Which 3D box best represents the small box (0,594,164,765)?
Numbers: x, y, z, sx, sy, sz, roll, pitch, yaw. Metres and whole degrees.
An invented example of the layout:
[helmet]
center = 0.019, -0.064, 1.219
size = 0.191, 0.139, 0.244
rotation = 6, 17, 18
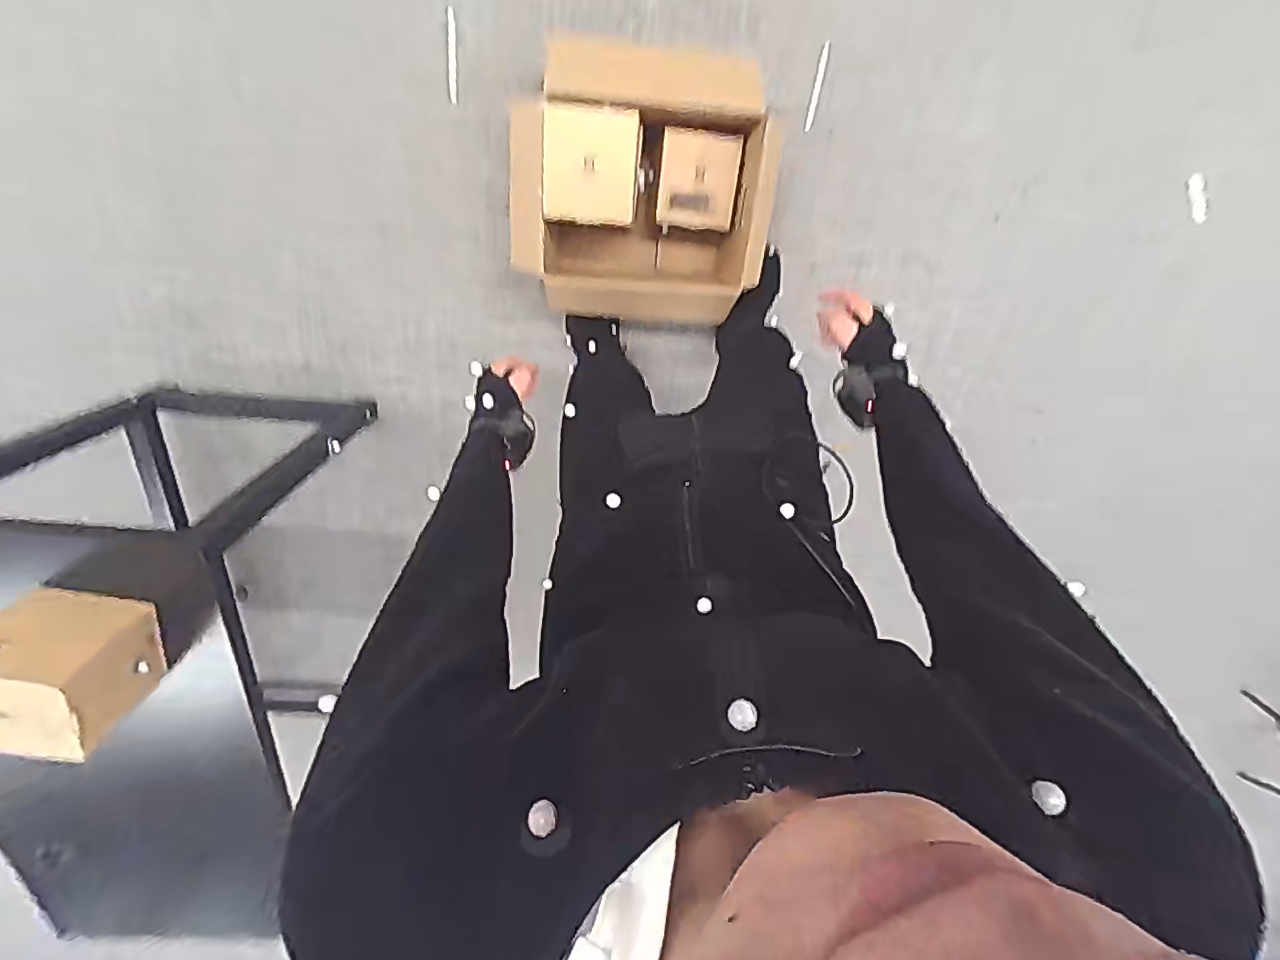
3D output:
[small box]
center = -0.891, 0.297, 0.827
size = 0.179, 0.176, 0.168
rotation = 12, 116, -8
